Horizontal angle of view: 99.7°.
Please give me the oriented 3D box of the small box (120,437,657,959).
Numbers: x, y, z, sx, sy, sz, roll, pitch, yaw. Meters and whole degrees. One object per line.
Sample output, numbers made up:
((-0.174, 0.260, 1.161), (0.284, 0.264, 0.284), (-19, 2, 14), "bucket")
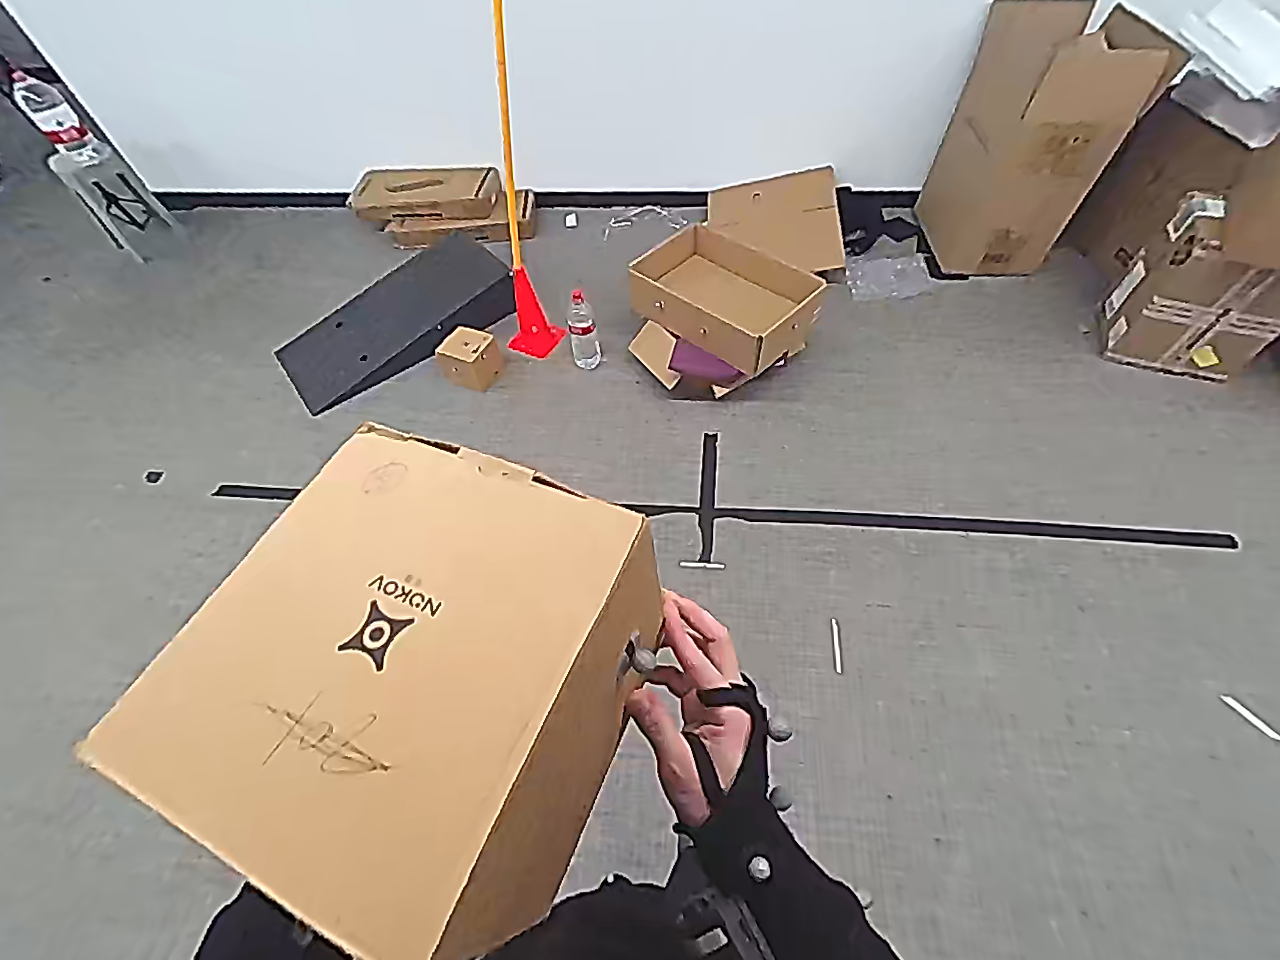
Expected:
((-0.096, 0.110, 0.301), (0.168, 0.176, 0.179), (17, 61, 18), "small box")
